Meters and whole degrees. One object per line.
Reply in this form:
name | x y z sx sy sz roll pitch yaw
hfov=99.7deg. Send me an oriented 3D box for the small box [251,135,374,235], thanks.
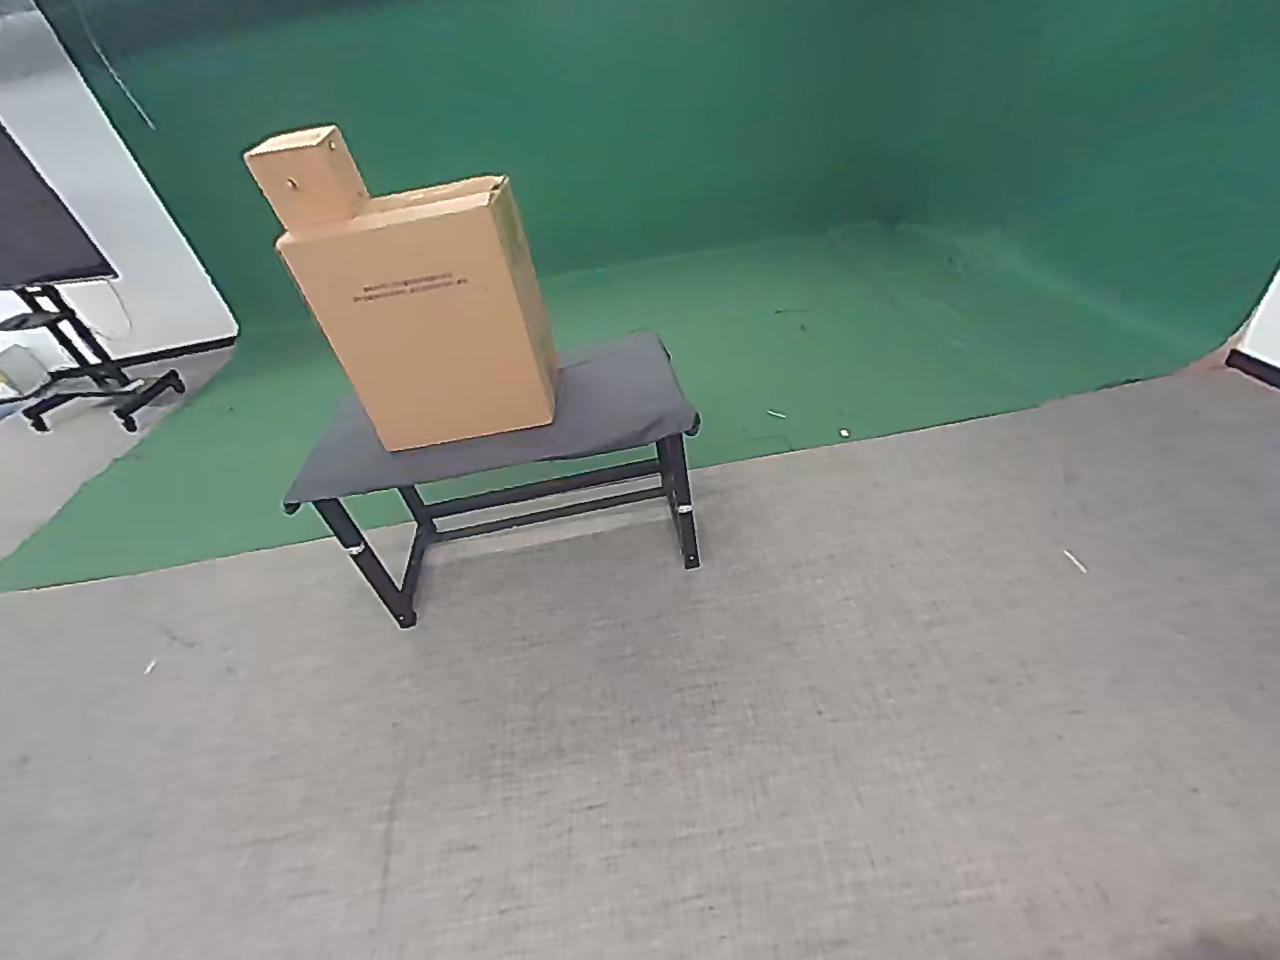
small box | -0.806 -0.734 1.352 0.179 0.176 0.168 -10 46 2
